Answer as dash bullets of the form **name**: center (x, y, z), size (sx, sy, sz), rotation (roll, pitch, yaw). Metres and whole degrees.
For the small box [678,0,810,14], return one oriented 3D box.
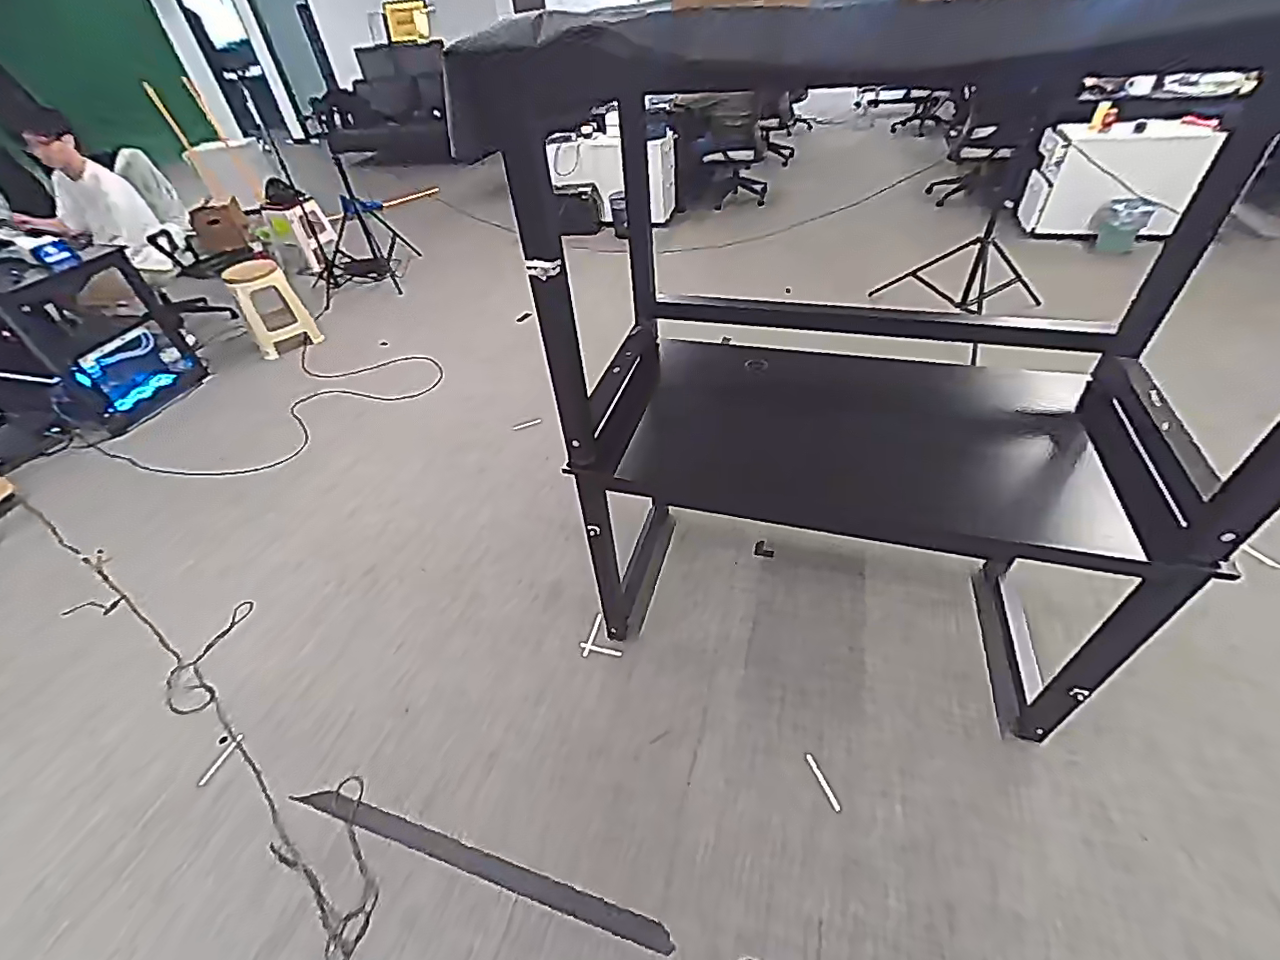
- **small box**: center (0.132, -0.687, 0.663), size (0.168, 0.176, 0.179), rotation (3, 42, 10)
